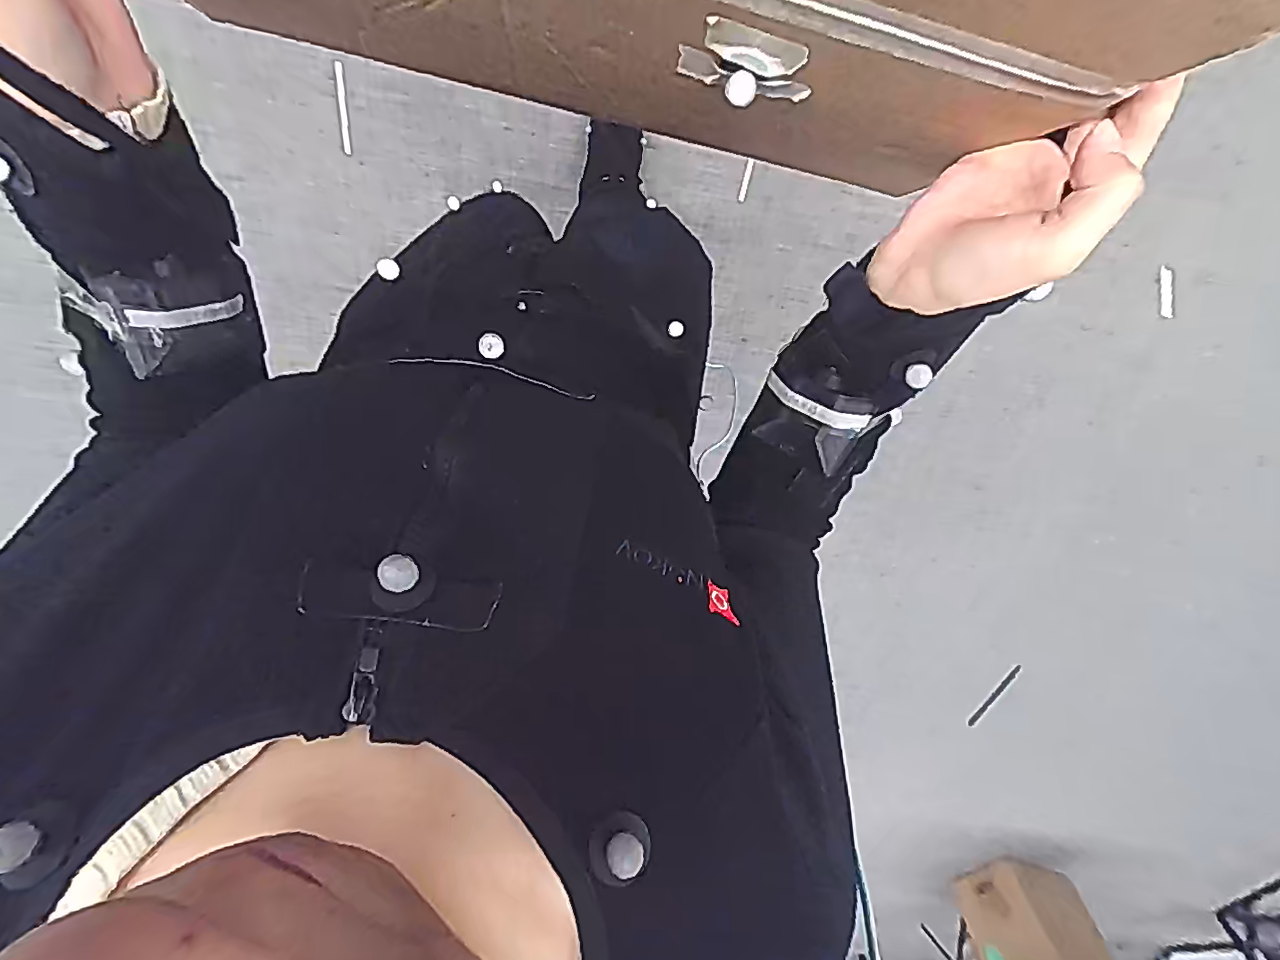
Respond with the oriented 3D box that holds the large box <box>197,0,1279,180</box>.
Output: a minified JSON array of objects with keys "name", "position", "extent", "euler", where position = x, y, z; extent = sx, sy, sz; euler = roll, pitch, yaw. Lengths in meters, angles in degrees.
[{"name":"large box","position":[0.010,-0.326,0.139],"extent":[0.408,0.320,0.320],"euler":[8,105,-8]}]
